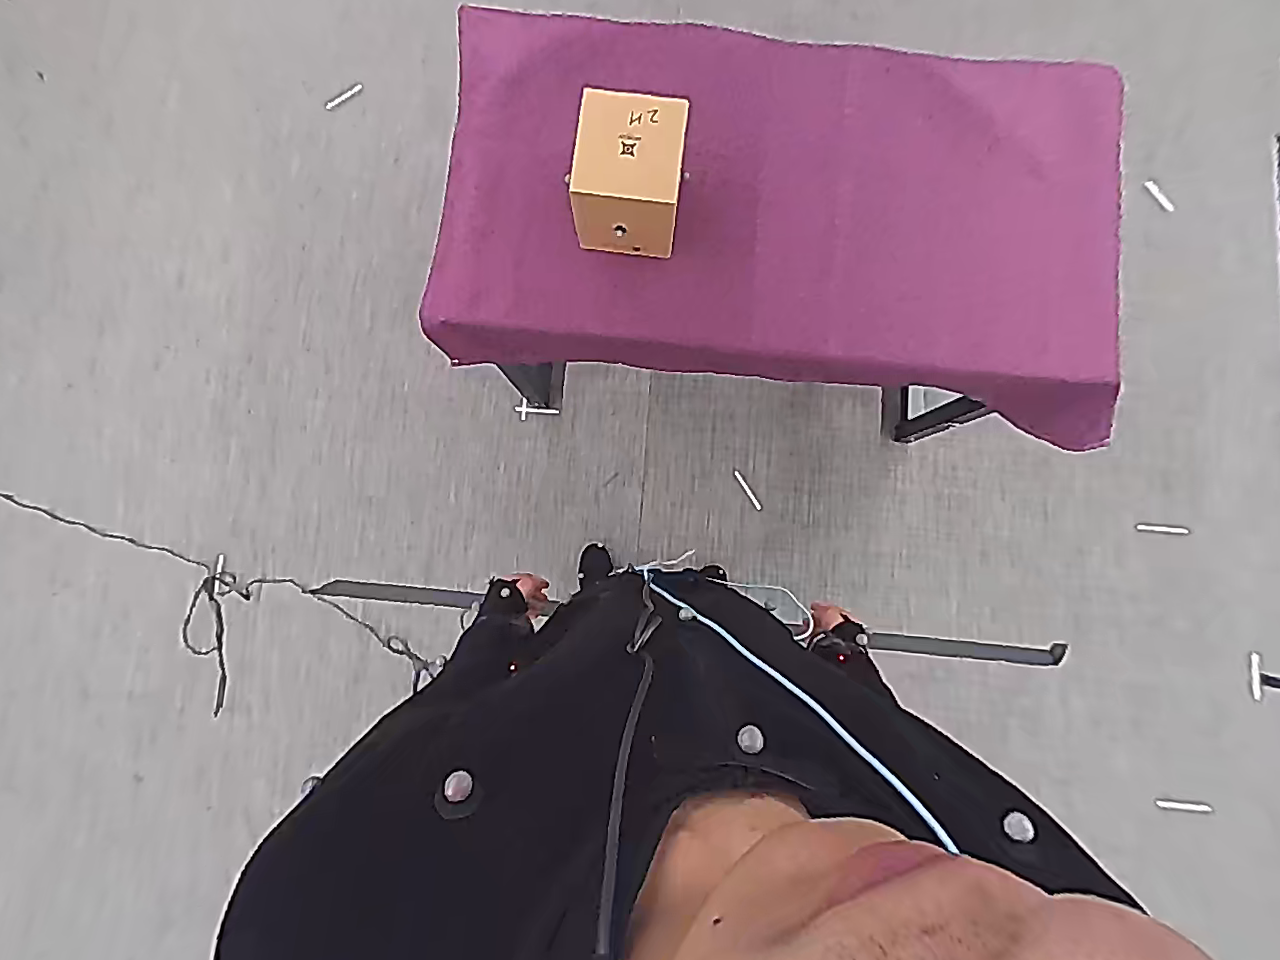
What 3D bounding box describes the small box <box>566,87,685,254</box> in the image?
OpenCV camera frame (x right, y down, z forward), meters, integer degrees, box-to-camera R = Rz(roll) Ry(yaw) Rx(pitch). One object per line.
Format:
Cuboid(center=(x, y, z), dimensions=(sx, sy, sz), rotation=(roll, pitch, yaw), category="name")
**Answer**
Cuboid(center=(-0.022, -0.505, 0.906), dimensions=(0.168, 0.176, 0.179), rotation=(7, 84, 0), category="small box")
